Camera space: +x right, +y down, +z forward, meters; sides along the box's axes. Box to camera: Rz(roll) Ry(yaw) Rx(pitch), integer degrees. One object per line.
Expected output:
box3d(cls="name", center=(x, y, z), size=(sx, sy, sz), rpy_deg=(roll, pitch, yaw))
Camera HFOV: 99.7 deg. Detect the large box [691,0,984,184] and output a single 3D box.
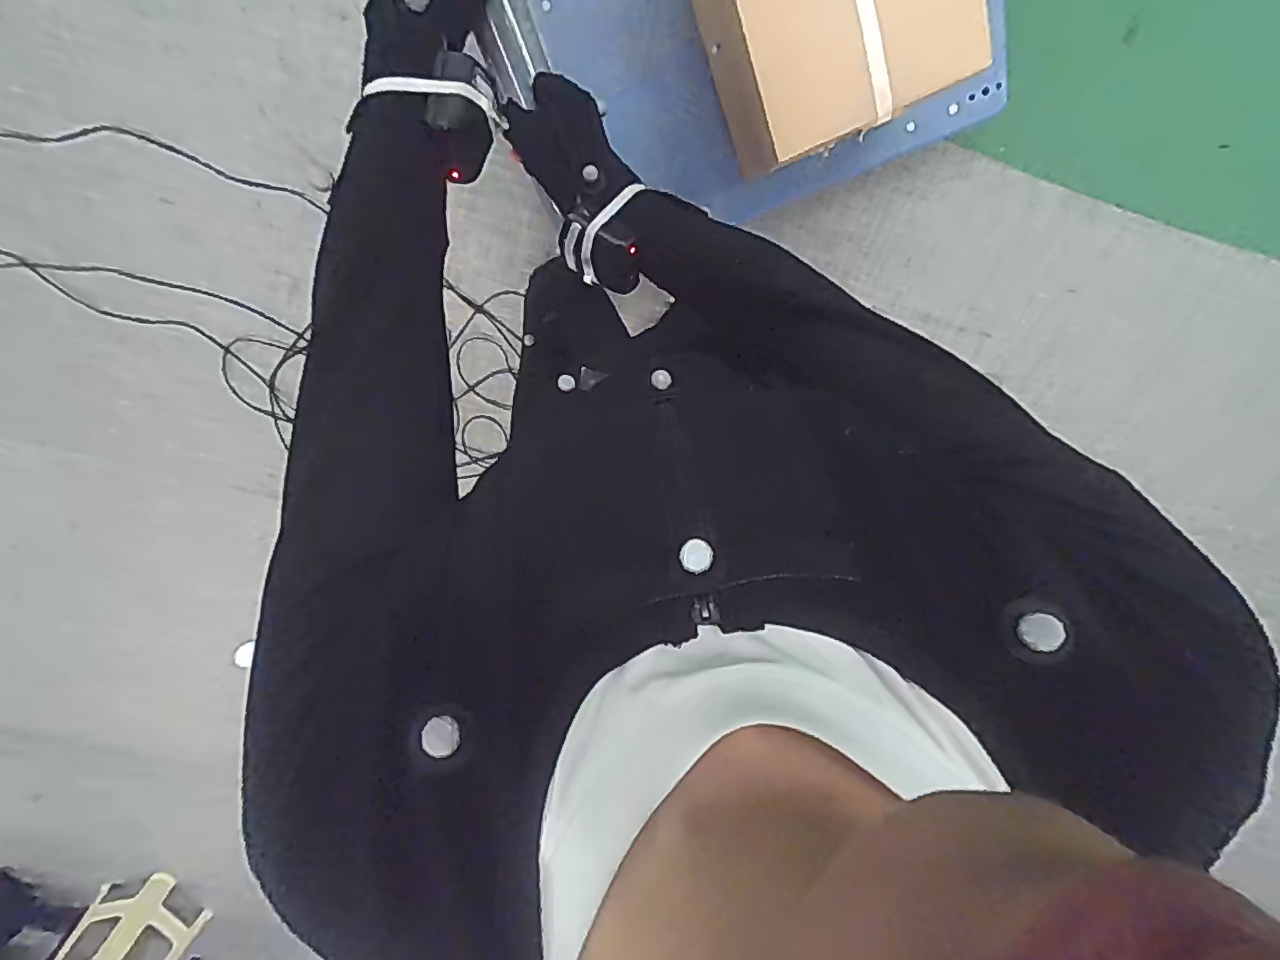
box3d(cls="large box", center=(0.276, -0.755, 0.859), size=(0.320, 0.320, 0.408), rpy_deg=(-21, 111, 9))
